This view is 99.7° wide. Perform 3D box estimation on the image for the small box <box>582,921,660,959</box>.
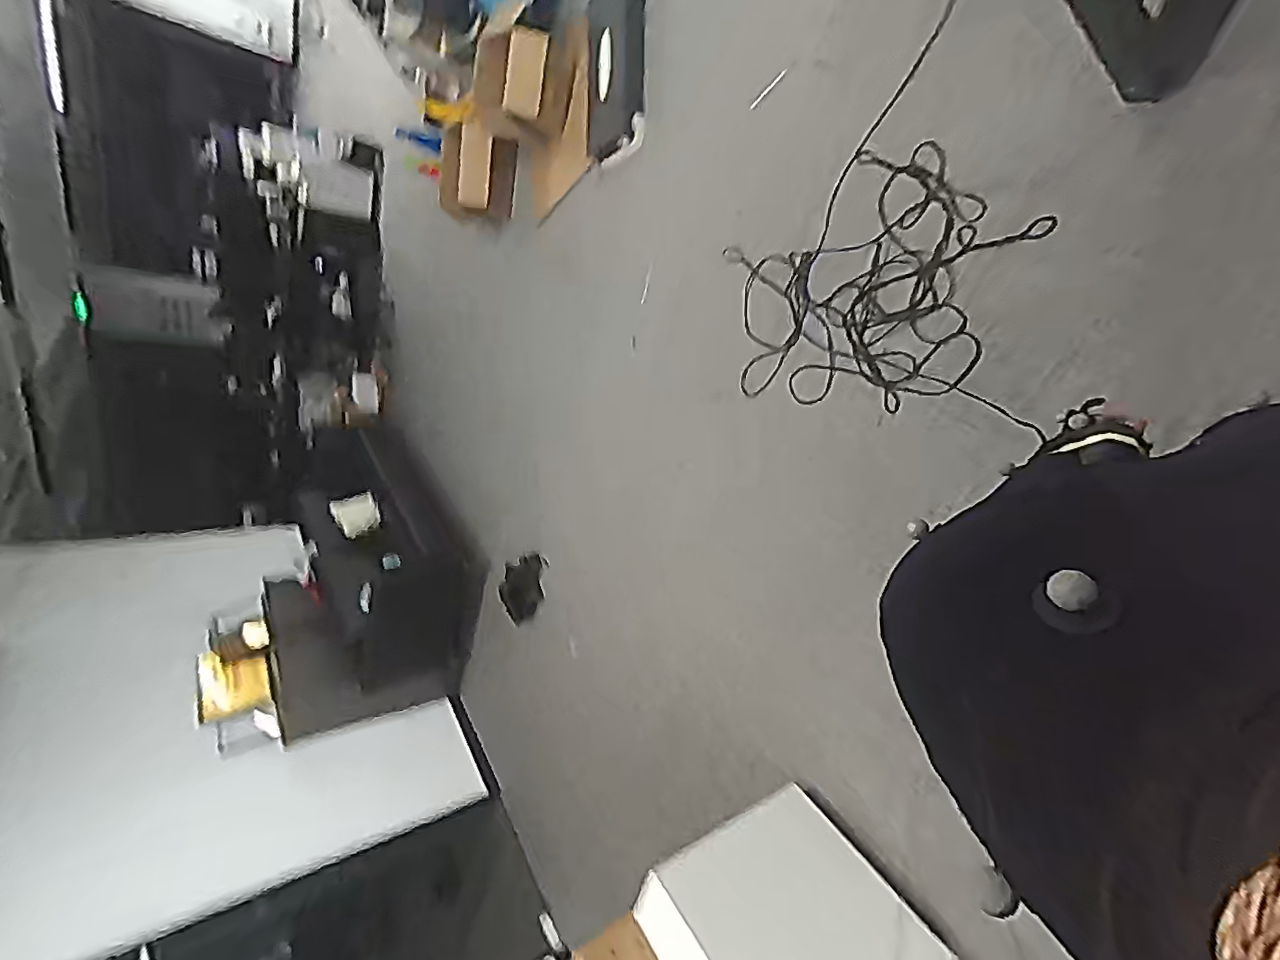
[{"bbox_3d":[-0.042,1.203,1.274,0.168,0.176,0.179,40,123,44],"label":"small box"}]
